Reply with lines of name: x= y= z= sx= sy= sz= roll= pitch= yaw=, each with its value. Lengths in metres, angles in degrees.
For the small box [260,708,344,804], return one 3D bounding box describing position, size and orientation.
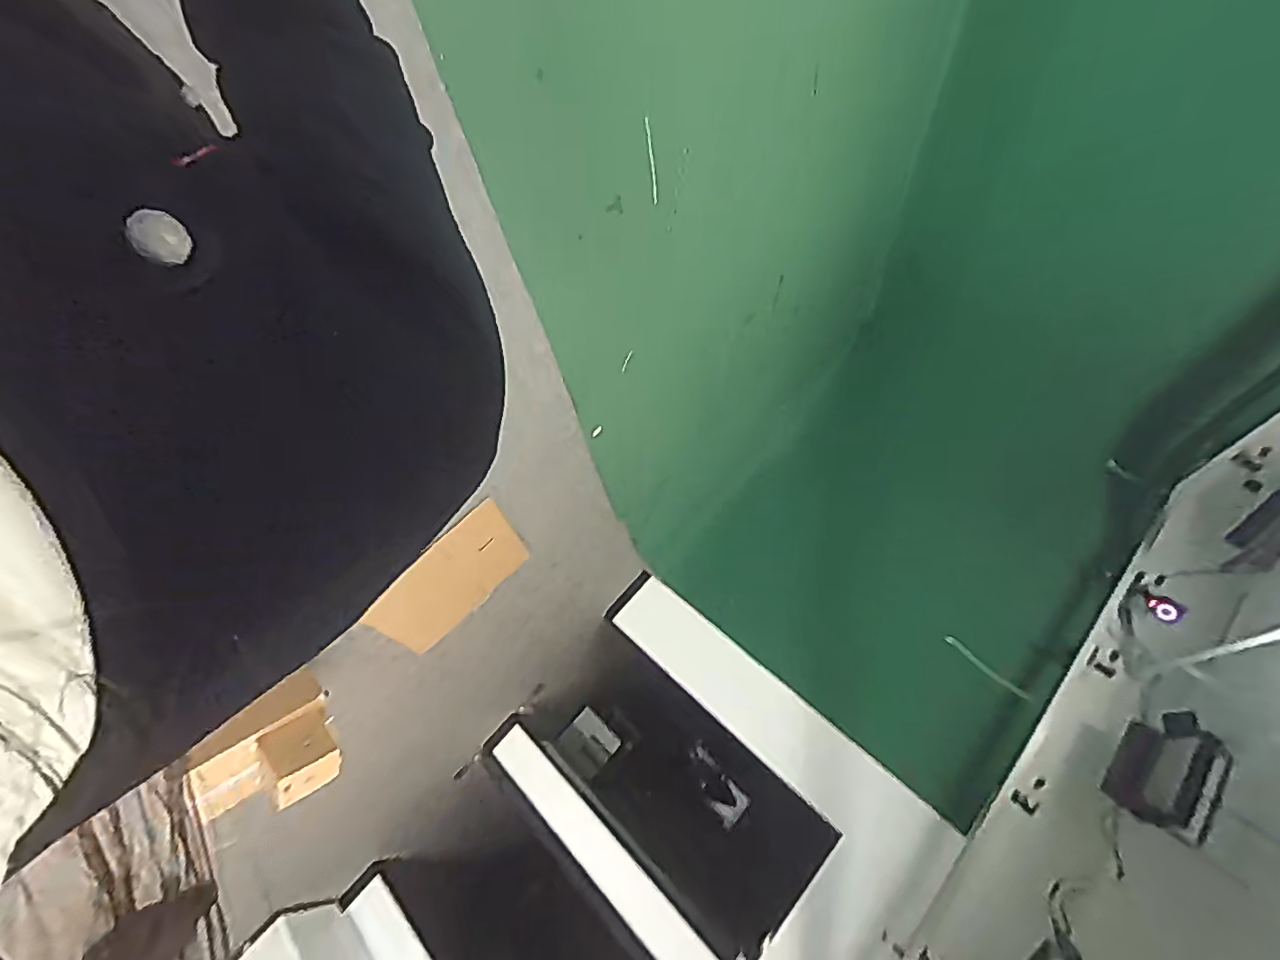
small box: x=-1.065 y=0.862 z=1.708 sx=0.179 sy=0.176 sz=0.168 roll=-22 pitch=141 yaw=-45
